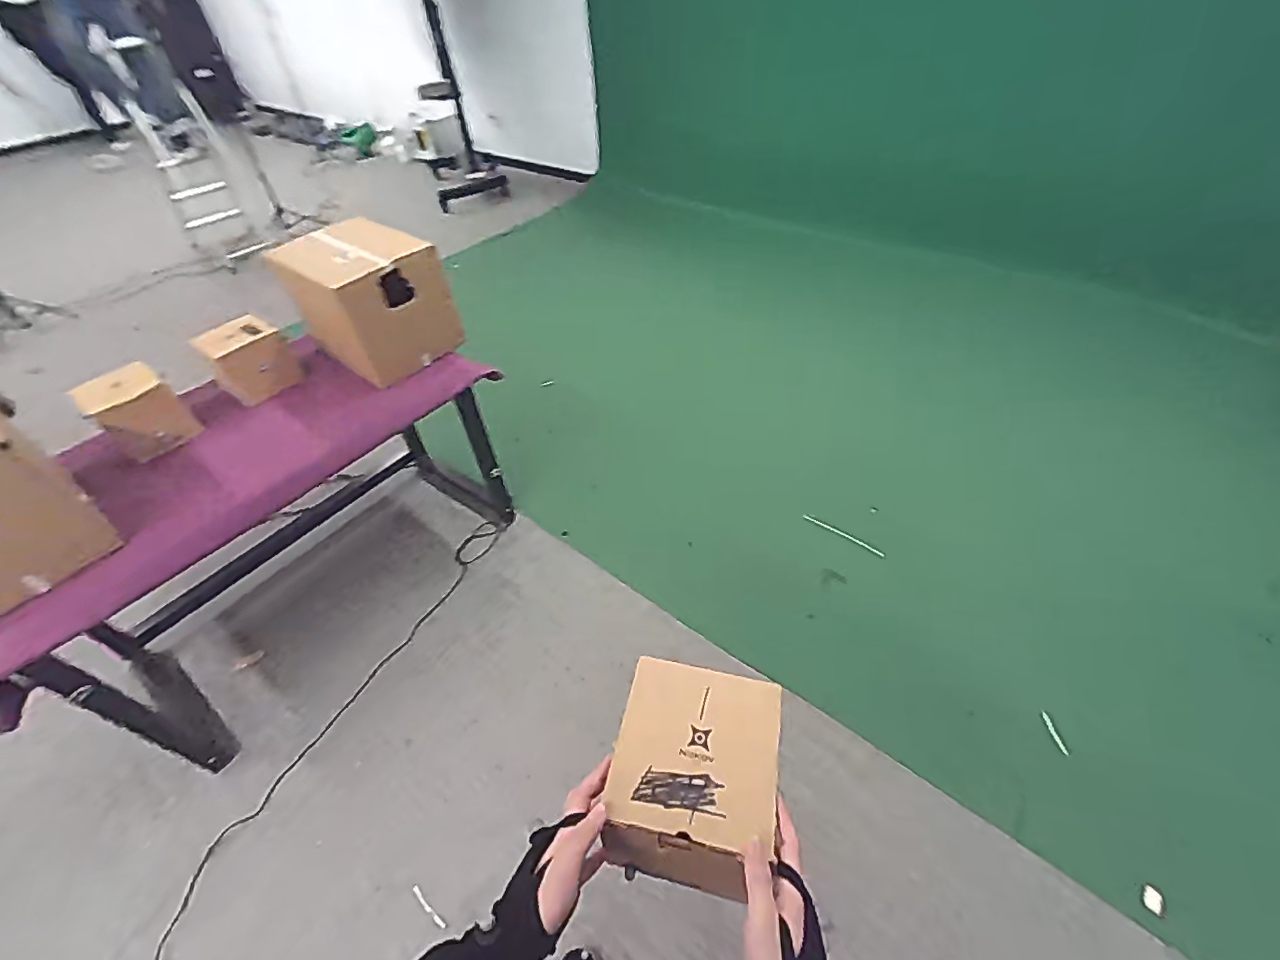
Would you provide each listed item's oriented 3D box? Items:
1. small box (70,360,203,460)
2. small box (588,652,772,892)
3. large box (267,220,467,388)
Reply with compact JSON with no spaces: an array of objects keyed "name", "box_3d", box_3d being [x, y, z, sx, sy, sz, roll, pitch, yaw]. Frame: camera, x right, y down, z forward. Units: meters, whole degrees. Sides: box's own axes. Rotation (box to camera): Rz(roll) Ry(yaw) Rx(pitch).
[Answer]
[{"name":"small box","box_3d":[-1.295,-0.178,1.399,0.179,0.176,0.168,29,56,28]},{"name":"small box","box_3d":[0.050,0.327,0.609,0.168,0.176,0.179,8,42,10]},{"name":"large box","box_3d":[-0.795,-0.532,1.613,0.408,0.320,0.320,29,56,28]}]
